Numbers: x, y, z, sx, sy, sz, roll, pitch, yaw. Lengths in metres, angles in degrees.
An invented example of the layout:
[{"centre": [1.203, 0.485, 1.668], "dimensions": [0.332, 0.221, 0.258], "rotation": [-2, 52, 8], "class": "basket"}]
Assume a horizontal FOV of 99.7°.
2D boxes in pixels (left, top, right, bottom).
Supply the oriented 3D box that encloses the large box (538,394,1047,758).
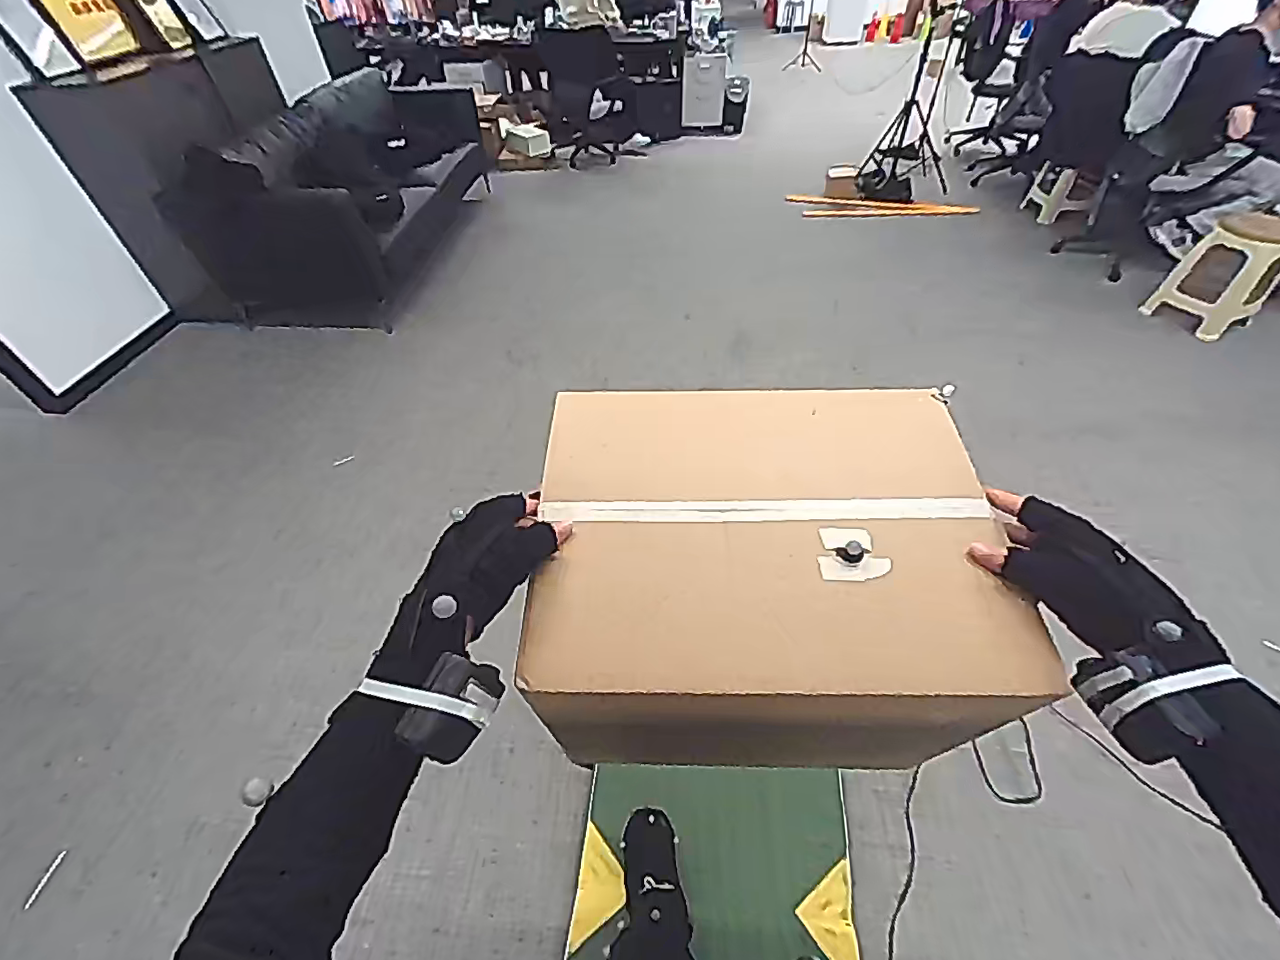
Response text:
[{"centre": [0.117, 0.120, 0.622], "dimensions": [0.408, 0.320, 0.320], "rotation": [0, 54, 1], "class": "large box"}]
